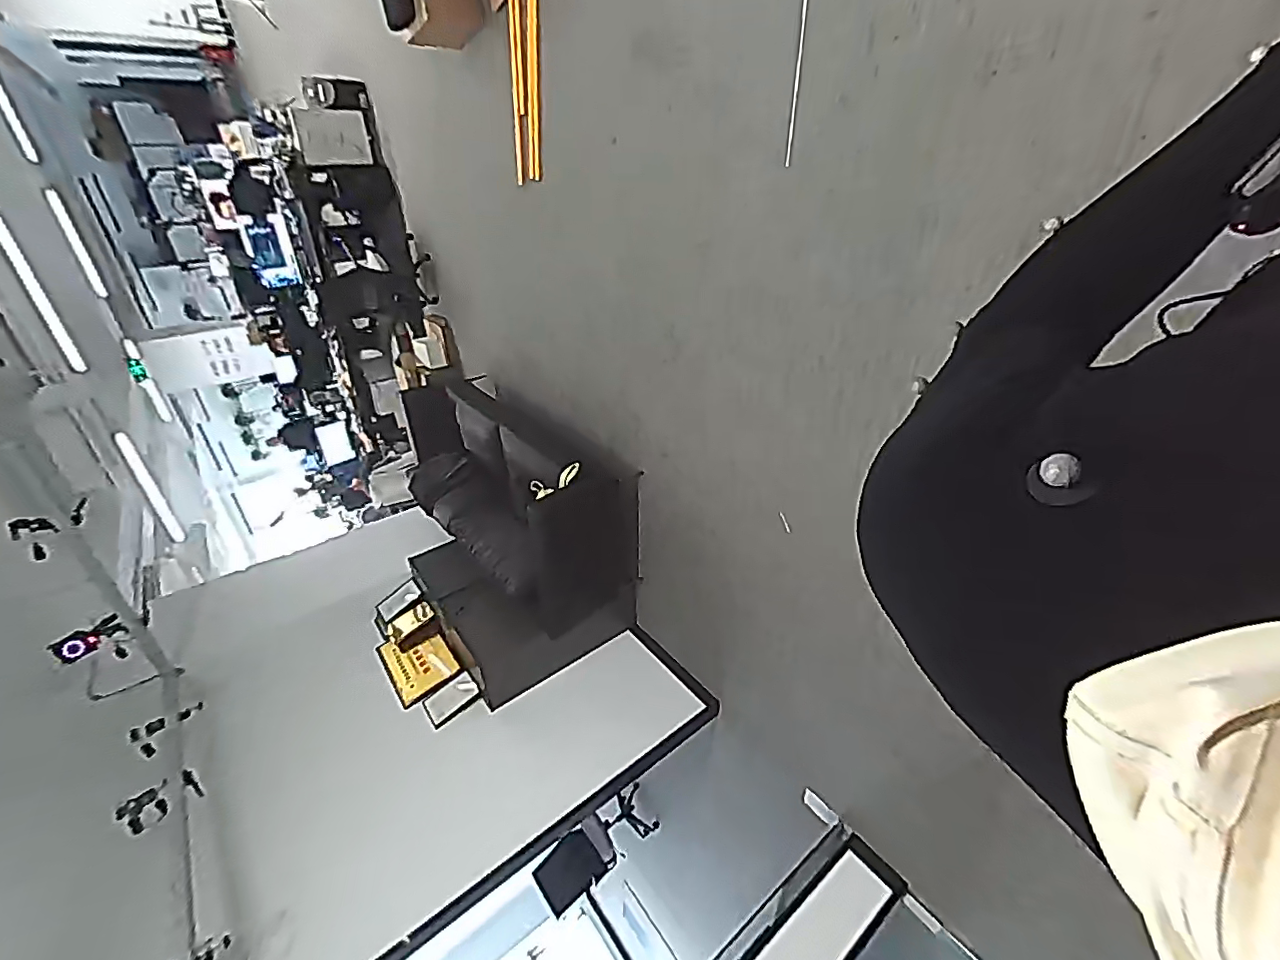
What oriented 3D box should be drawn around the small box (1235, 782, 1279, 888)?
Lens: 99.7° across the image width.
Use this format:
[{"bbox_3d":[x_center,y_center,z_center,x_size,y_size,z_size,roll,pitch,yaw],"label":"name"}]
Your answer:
[{"bbox_3d":[1.283,0.681,1.005,0.168,0.176,0.179,34,137,40],"label":"small box"}]
